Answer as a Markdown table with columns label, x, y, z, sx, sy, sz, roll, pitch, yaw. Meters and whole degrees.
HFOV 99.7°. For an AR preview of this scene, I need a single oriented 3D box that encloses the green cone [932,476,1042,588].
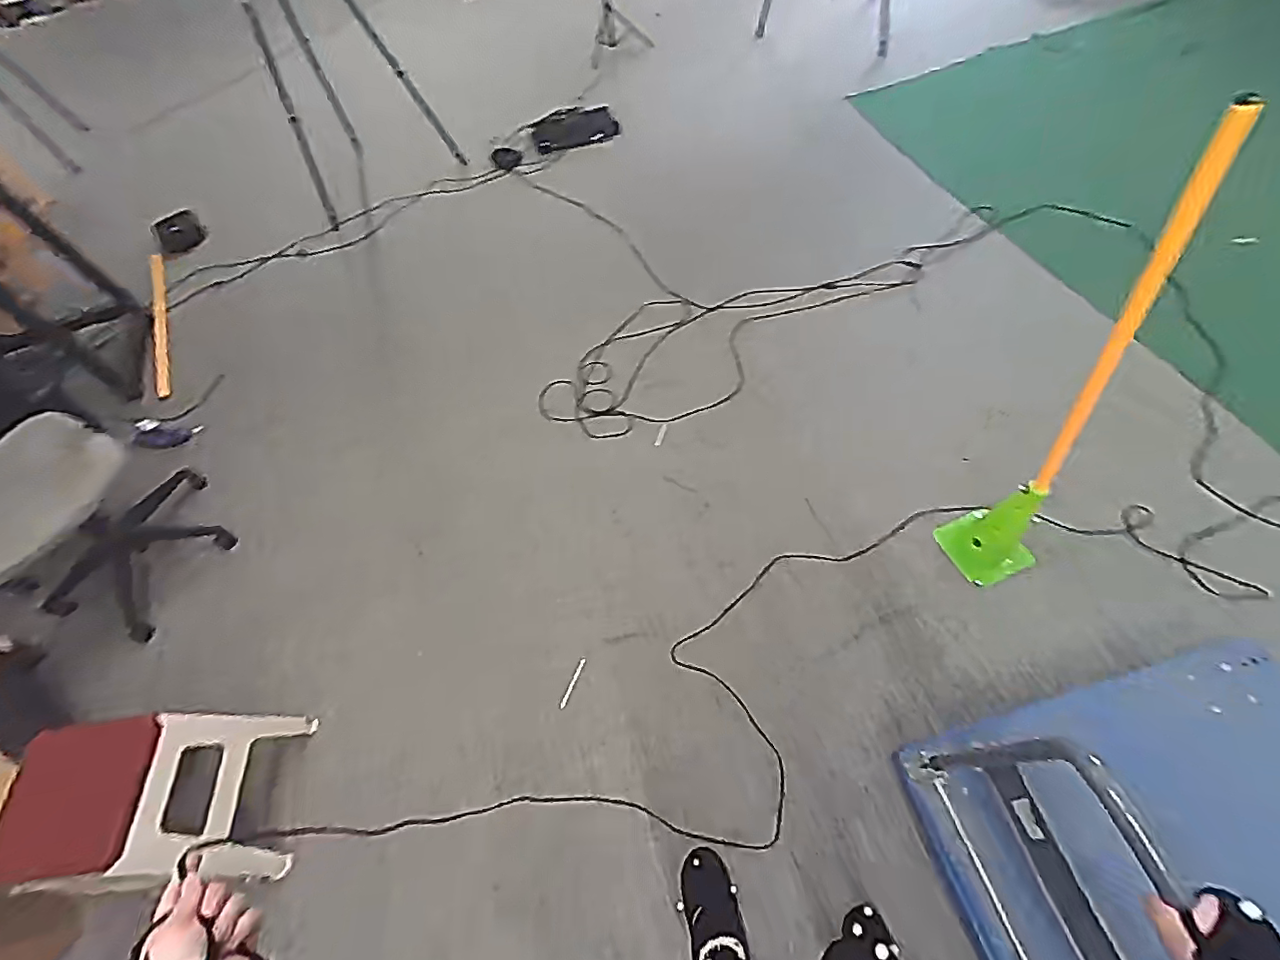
| label | x | y | z | sx | sy | sz | roll | pitch | yaw |
| --- | --- | --- | --- | --- | --- | --- | --- | --- | --- |
| green cone | 0.969 | 0.106 | 1.432 | 0.200 | 0.368 | 0.202 | -24 | 57 | -6 |
